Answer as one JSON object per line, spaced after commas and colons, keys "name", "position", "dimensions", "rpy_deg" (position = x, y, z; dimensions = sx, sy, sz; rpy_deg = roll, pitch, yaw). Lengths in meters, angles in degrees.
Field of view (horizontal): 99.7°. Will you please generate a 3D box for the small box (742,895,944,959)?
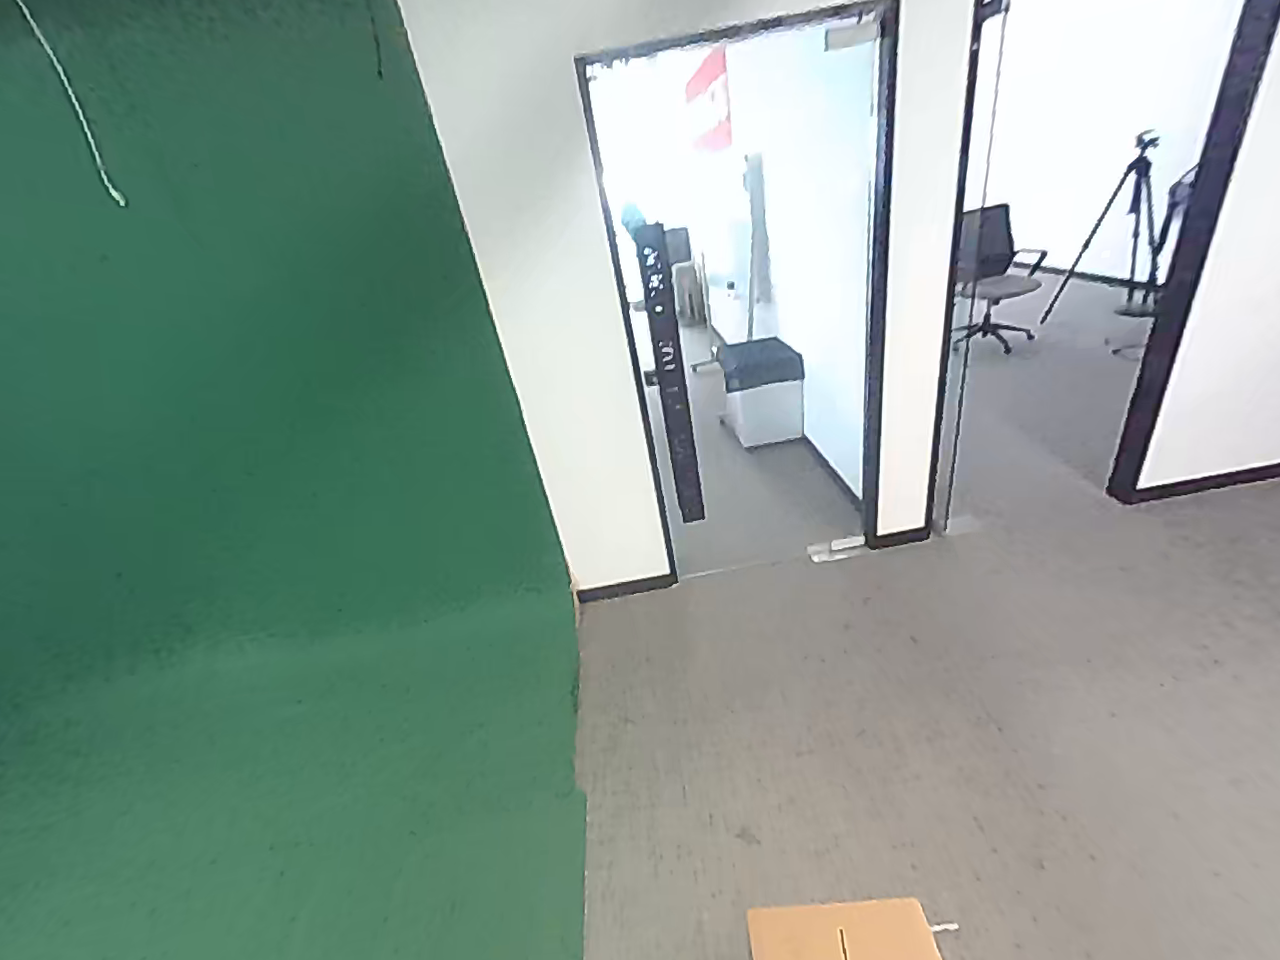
{"name": "small box", "position": [0.186, 0.502, 0.469], "dimensions": [0.168, 0.176, 0.179], "rpy_deg": [-6, 30, 4]}
